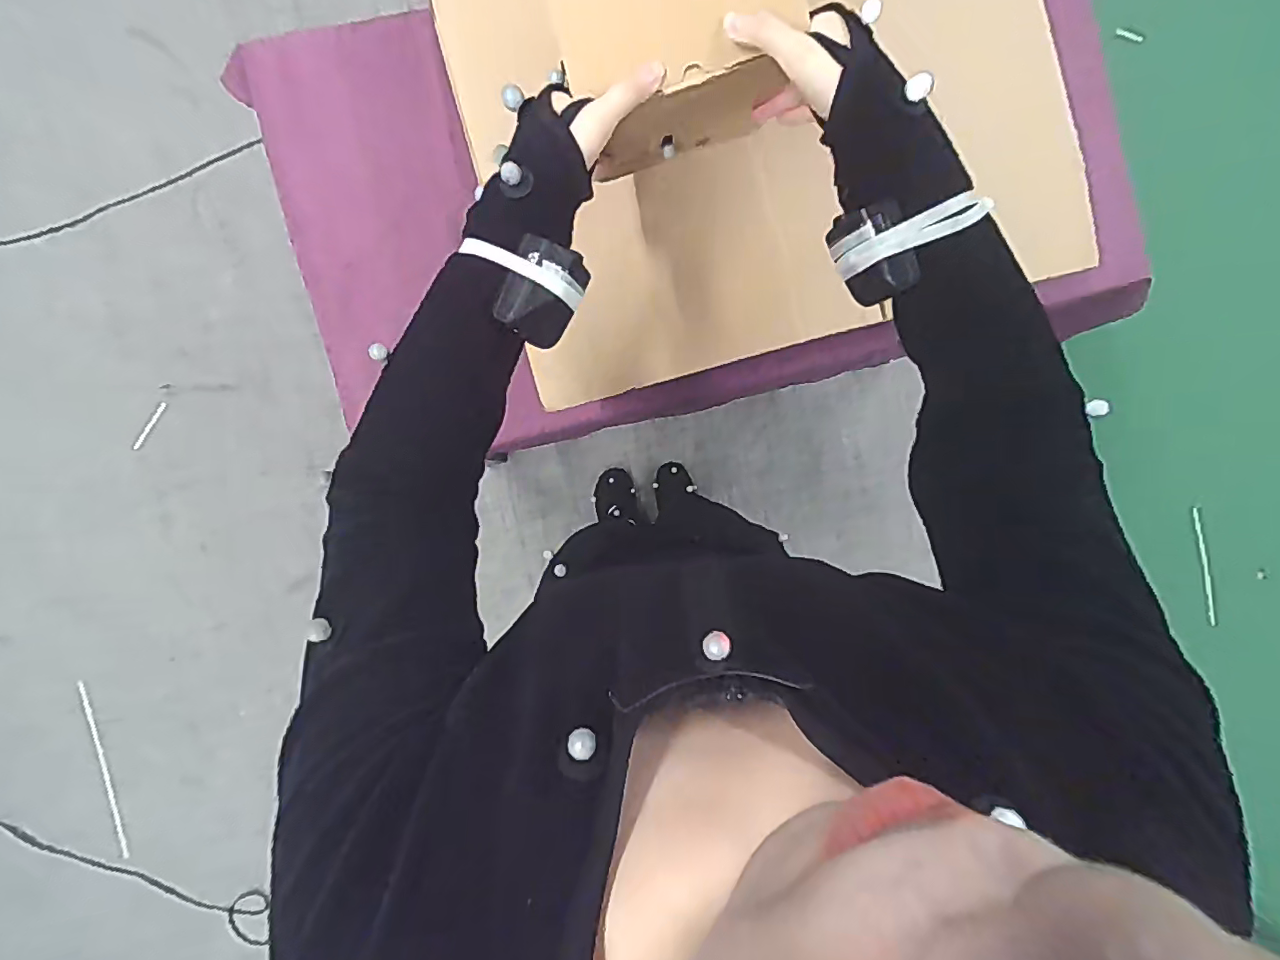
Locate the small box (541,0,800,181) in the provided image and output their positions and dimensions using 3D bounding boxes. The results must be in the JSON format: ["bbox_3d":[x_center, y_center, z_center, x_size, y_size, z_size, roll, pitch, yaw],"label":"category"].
[{"bbox_3d":[0.009,-0.374,0.434,0.168,0.176,0.179,-16,106,5],"label":"small box"}]
